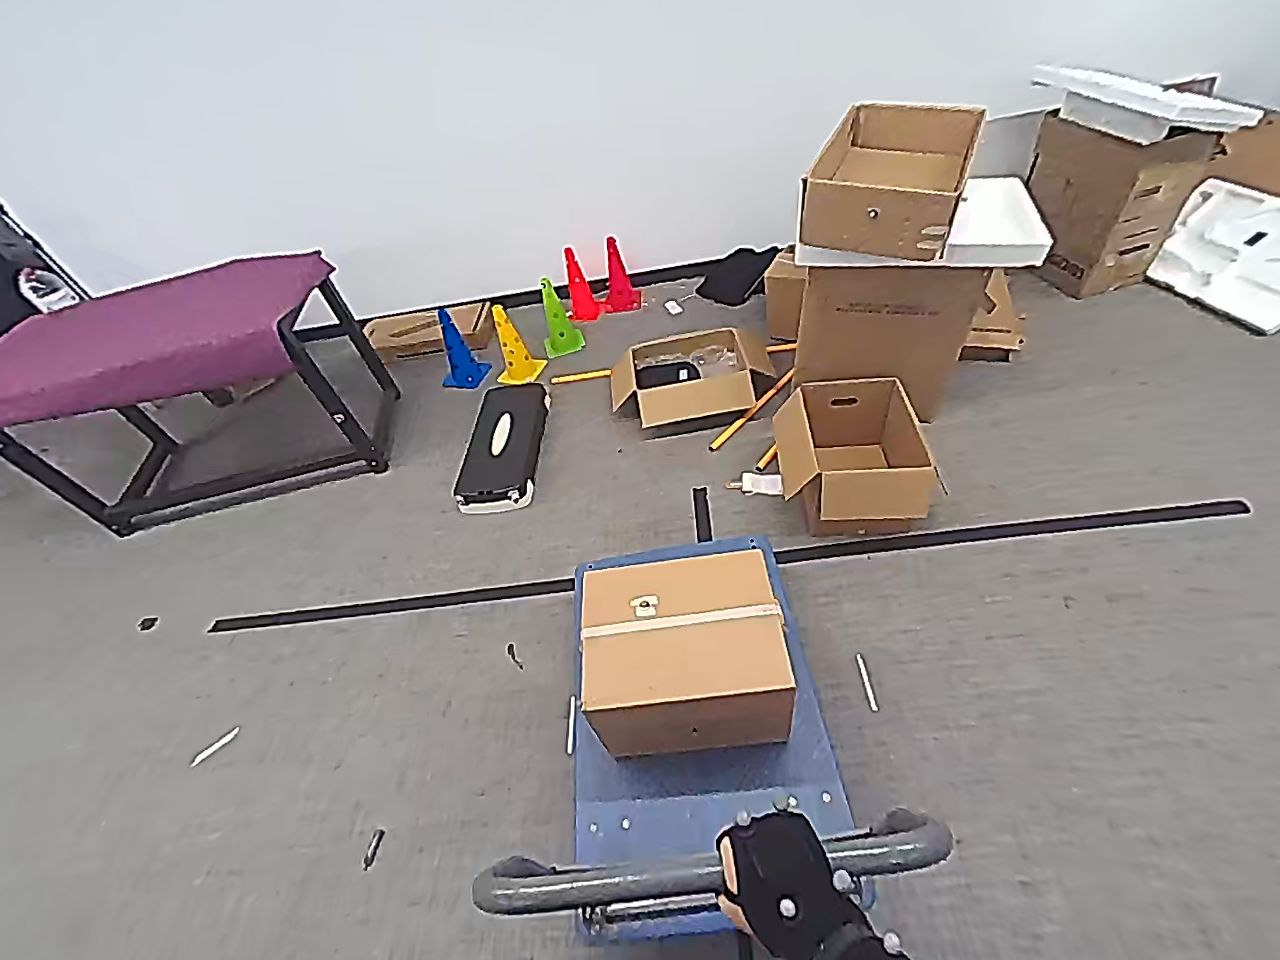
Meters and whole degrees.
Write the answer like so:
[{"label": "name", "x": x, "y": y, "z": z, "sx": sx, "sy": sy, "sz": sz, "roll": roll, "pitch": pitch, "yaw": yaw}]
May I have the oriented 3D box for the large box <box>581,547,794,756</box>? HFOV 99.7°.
[{"label": "large box", "x": 0.102, "y": 0.388, "z": 1.204, "sx": 0.408, "sy": 0.320, "sz": 0.320, "roll": -10, "pitch": 46, "yaw": 5}]
